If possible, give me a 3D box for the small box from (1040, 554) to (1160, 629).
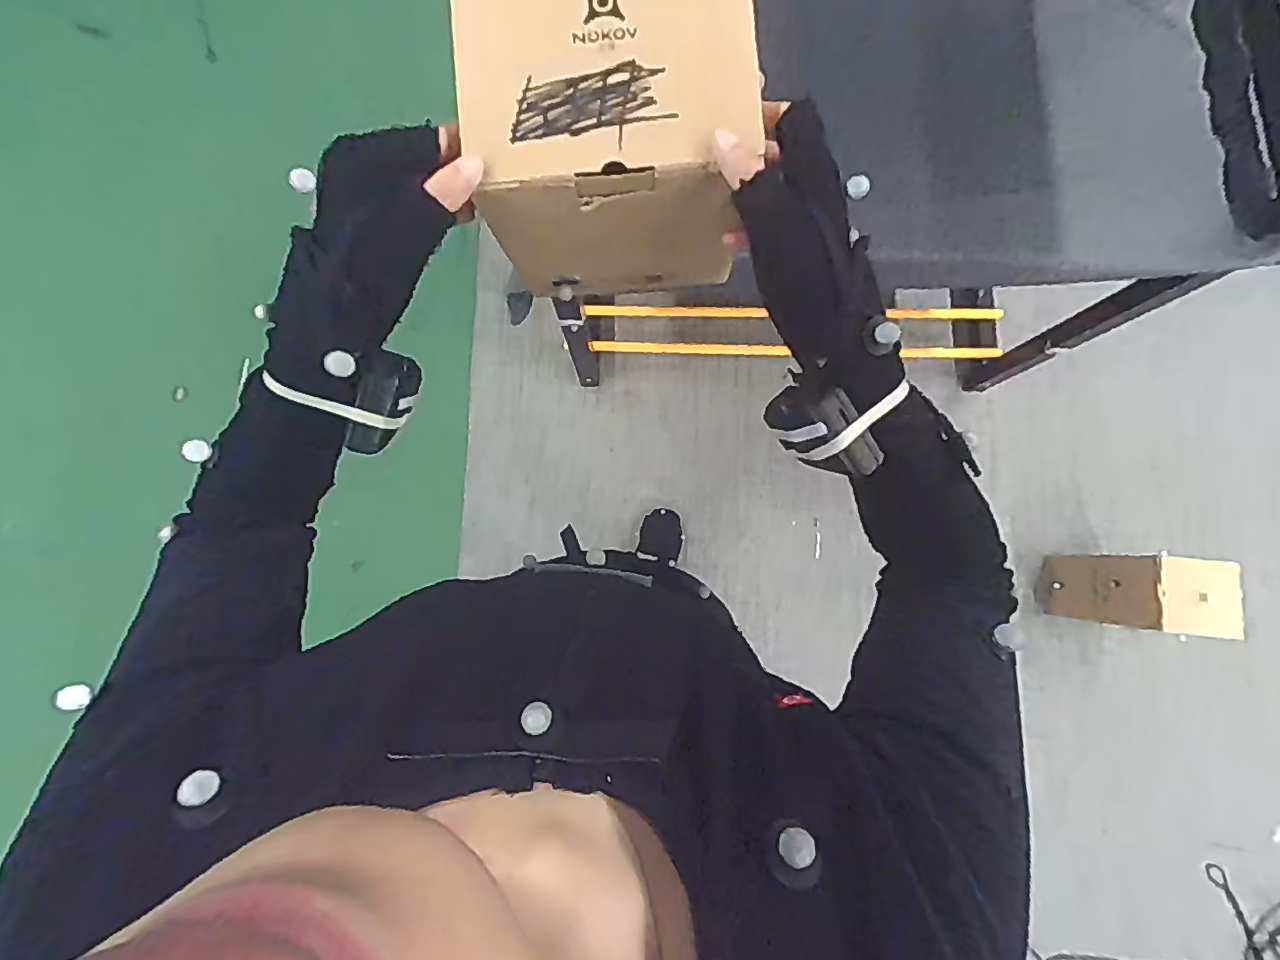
[{"bbox_3d":[1.197,0.285,1.413,0.179,0.176,0.168,7,81,1],"label":"small box"}]
